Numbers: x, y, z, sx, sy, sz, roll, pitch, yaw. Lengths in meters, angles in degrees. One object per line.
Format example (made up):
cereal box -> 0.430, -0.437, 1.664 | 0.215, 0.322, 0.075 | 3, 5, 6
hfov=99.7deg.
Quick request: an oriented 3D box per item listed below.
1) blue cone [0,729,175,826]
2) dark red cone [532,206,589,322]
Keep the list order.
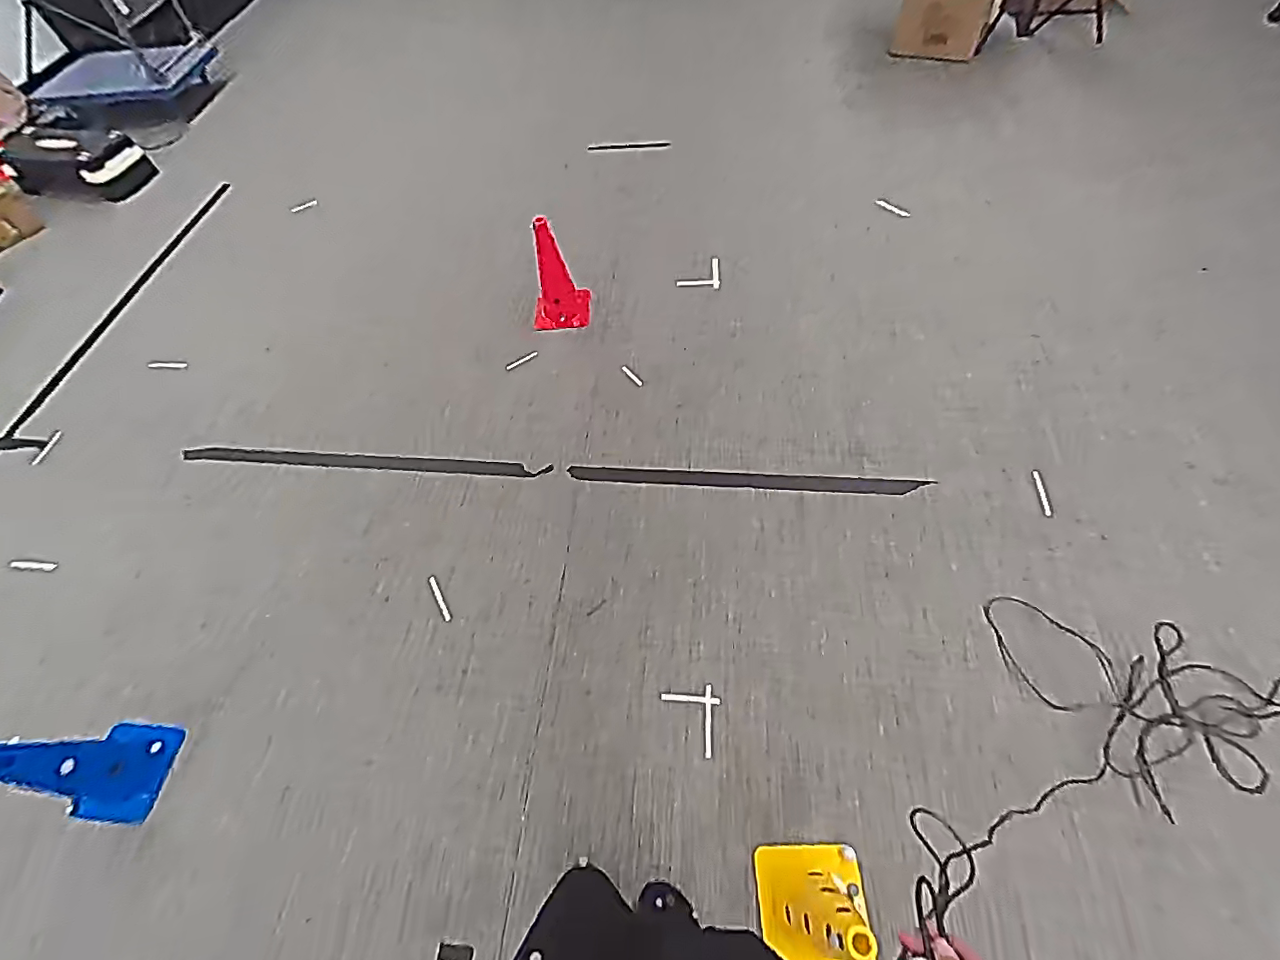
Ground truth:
blue cone -> -1.208, 0.601, 1.113 | 0.193, 0.380, 0.192 | 3, 59, 8
dark red cone -> -0.301, -0.730, 1.824 | 0.202, 0.394, 0.201 | -4, 59, 3
